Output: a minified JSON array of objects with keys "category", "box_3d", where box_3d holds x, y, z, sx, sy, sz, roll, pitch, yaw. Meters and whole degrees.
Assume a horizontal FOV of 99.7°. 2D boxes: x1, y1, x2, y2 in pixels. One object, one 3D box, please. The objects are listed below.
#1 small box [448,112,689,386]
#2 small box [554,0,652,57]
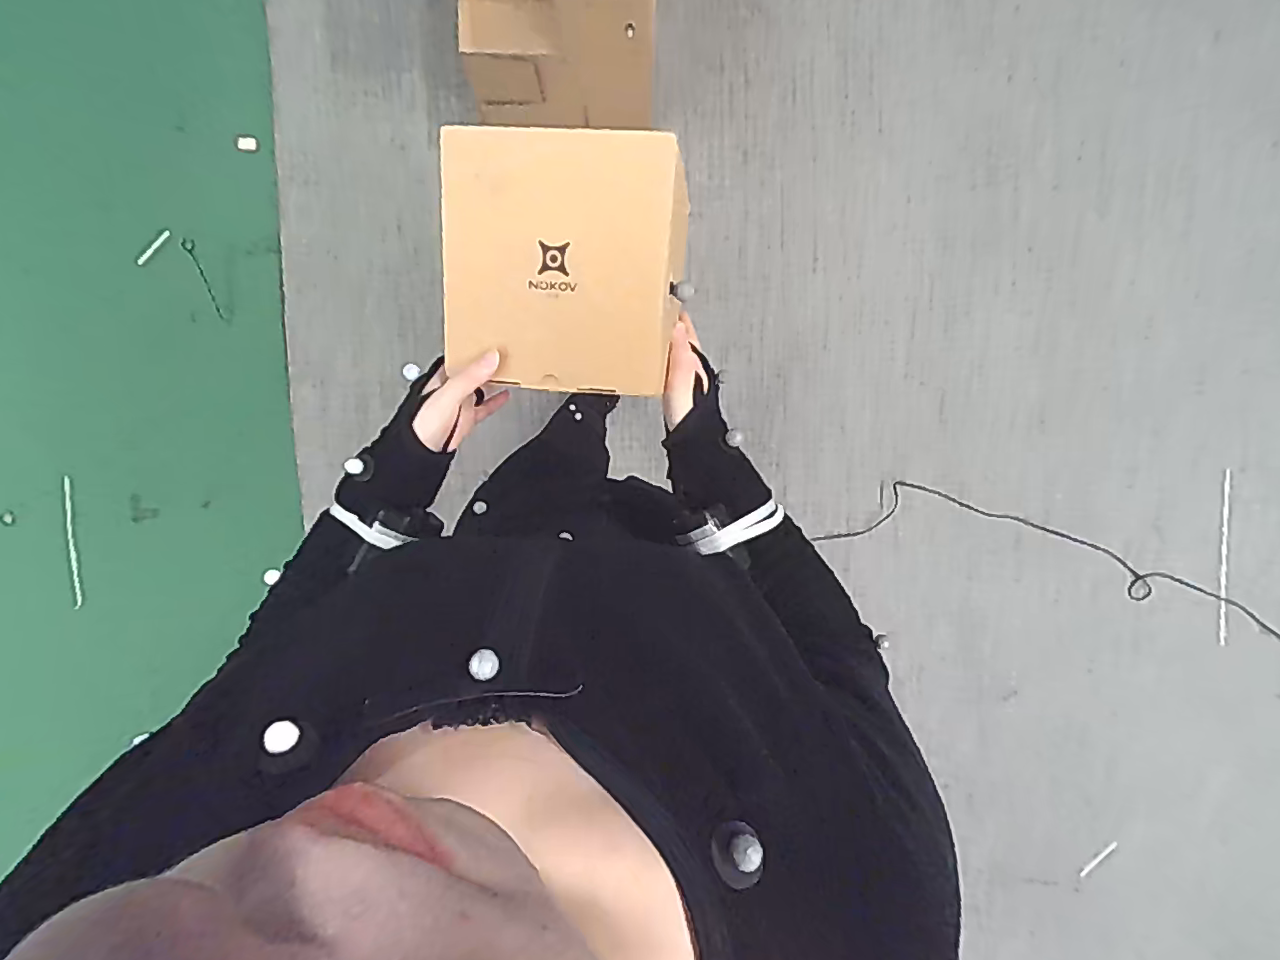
[{"category":"small box","box_3d":[-0.048,-0.180,0.460,0.168,0.176,0.179,5,106,6]},{"category":"small box","box_3d":[-0.066,-0.930,1.006,0.179,0.176,0.168,-1,93,0]}]
